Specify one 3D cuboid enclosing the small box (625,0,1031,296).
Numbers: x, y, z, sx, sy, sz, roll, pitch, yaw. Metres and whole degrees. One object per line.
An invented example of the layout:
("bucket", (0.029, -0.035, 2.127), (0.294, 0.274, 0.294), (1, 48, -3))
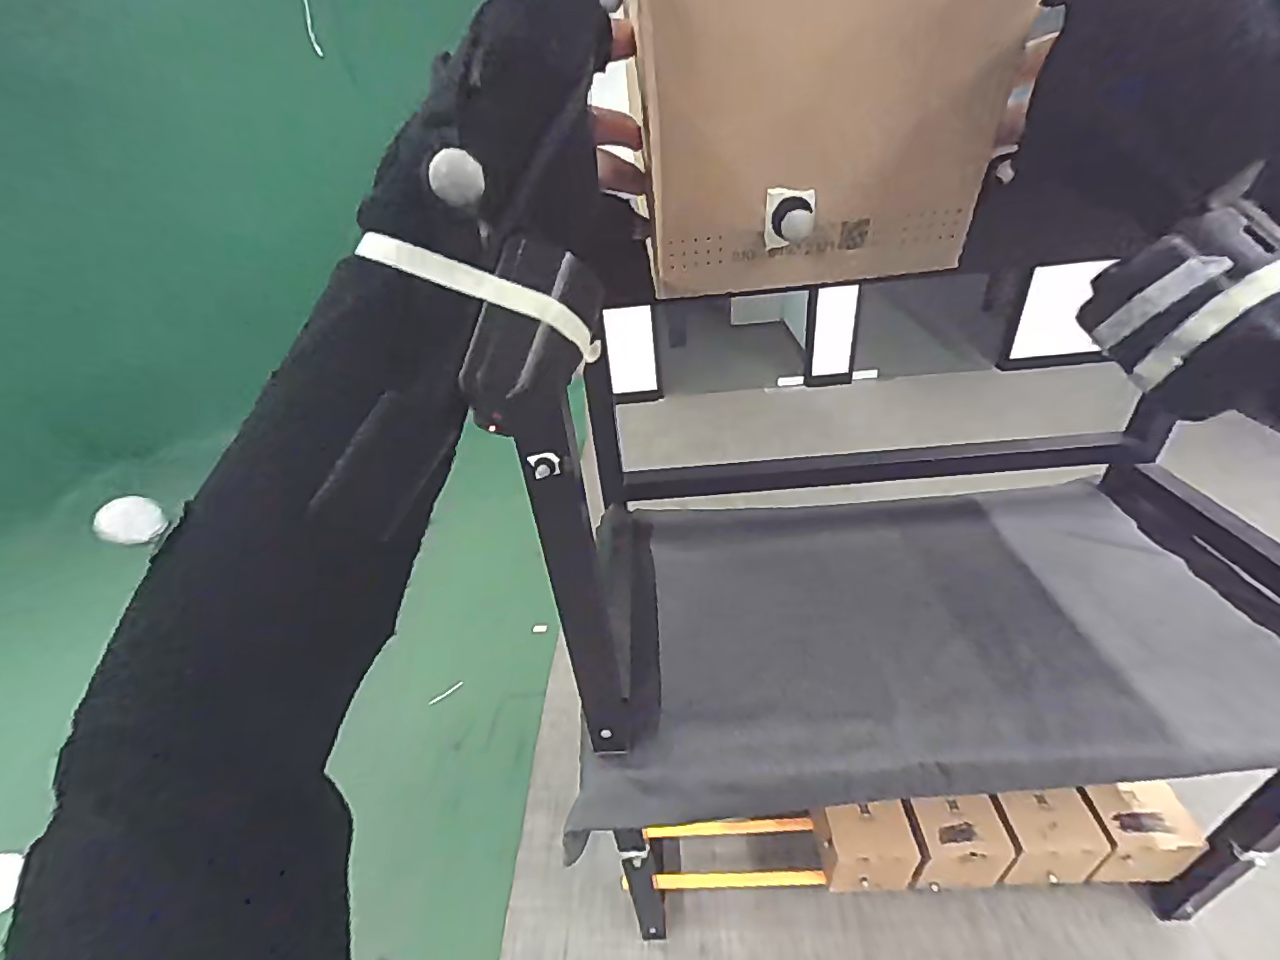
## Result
("small box", (0.079, -0.224, 0.307), (0.168, 0.176, 0.179), (-7, 43, 1))
